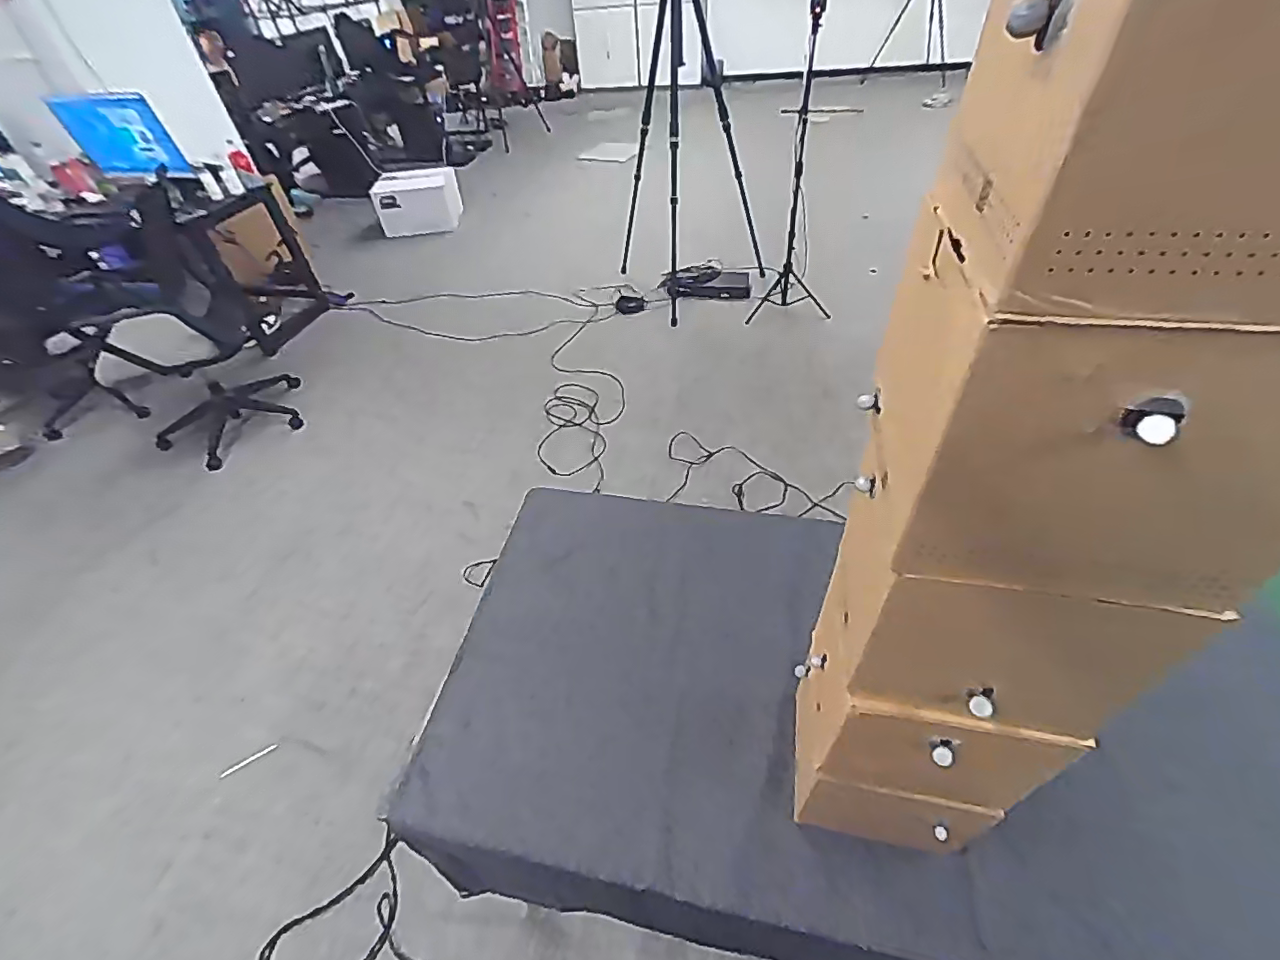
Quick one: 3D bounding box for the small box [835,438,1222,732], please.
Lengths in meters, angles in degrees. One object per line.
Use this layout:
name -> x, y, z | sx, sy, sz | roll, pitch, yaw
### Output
small box -> 0.261, 0.073, 0.423 | 0.179, 0.176, 0.168 | 7, 44, 13

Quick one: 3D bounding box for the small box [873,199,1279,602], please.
small box -> 0.244, -0.049, 0.314 | 0.179, 0.176, 0.168 | 6, 45, 12

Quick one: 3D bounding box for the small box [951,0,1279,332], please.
small box -> 0.235, -0.166, 0.201 | 0.179, 0.176, 0.168 | 7, 46, 14

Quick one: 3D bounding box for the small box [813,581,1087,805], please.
small box -> 0.274, 0.196, 0.531 | 0.179, 0.176, 0.168 | 5, 45, 12
